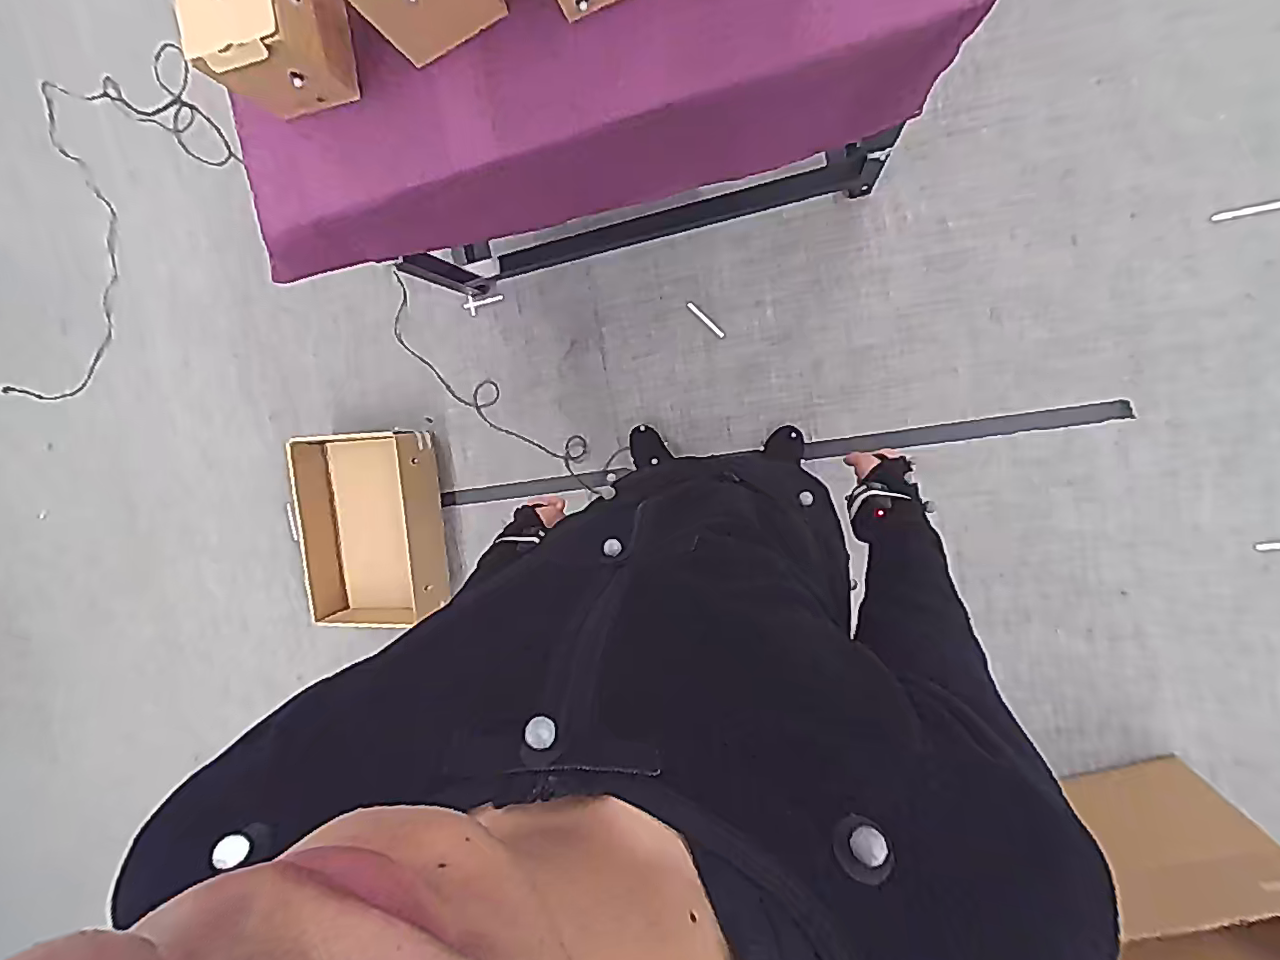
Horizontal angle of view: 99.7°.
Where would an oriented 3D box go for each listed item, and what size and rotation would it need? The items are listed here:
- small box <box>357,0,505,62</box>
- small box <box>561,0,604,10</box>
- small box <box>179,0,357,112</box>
[{"bbox_3d":[-0.328,-0.766,0.784,0.179,0.176,0.168,-18,94,14],"label":"small box"},{"bbox_3d":[-0.070,-0.789,0.723,0.168,0.176,0.179,-14,93,14],"label":"small box"},{"bbox_3d":[-0.575,-0.714,0.848,0.168,0.176,0.179,-4,96,12],"label":"small box"}]
